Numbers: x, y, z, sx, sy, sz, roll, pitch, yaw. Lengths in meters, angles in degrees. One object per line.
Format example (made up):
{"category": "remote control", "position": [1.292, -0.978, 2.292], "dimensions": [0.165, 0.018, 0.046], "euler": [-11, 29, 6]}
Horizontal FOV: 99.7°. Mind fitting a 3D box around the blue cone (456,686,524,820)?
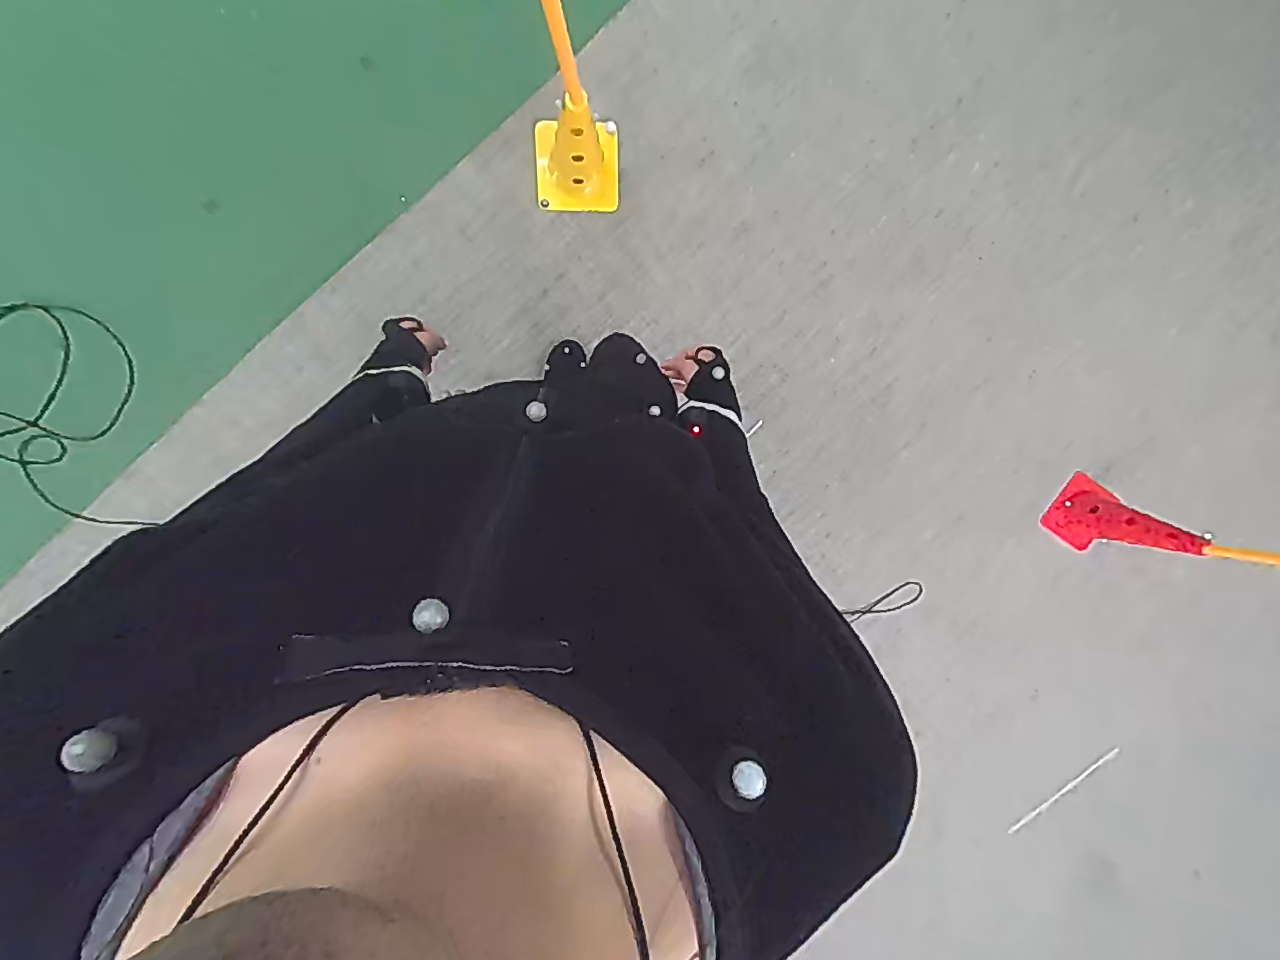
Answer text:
{"category": "blue cone", "position": [-0.419, 0.726, 1.424], "dimensions": [0.192, 0.380, 0.193], "euler": [4, 103, -8]}
